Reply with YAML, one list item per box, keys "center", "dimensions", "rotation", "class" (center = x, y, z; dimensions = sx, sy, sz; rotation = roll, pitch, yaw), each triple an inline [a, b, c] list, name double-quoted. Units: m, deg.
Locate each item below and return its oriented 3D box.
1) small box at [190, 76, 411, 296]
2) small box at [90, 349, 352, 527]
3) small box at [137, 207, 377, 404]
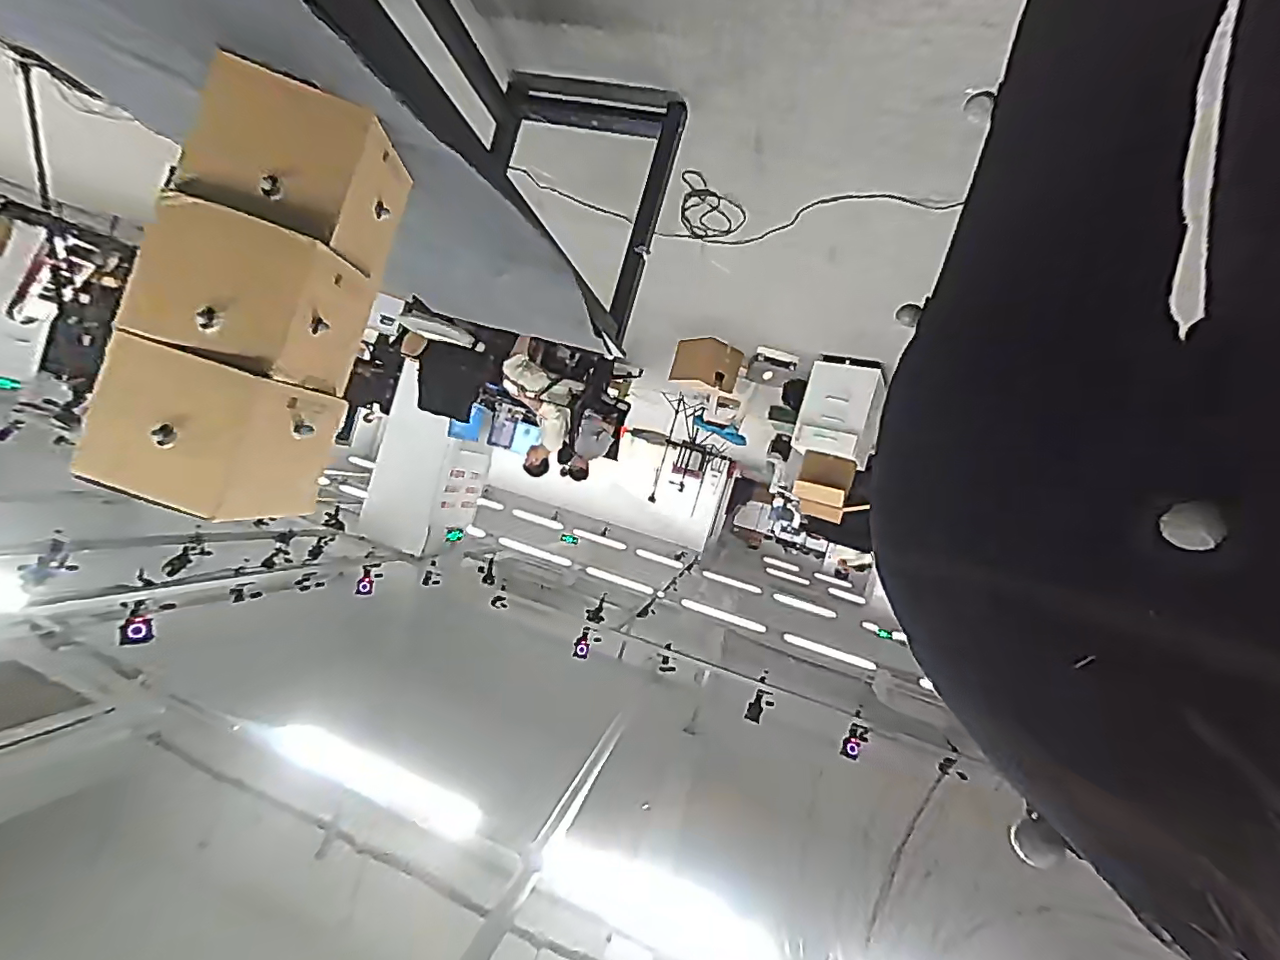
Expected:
- center: [-0.415, -0.366, 0.696]
  dimensions: [0.179, 0.176, 0.168]
  rotation: [18, 180, -9]
  class: "small box"
- center: [-0.500, -0.050, 0.672]
  dimensions: [0.179, 0.176, 0.168]
  rotation: [17, 180, 3]
  class: "small box"
- center: [-0.456, -0.209, 0.678]
  dimensions: [0.179, 0.176, 0.168]
  rotation: [18, 179, -3]
  class: "small box"
